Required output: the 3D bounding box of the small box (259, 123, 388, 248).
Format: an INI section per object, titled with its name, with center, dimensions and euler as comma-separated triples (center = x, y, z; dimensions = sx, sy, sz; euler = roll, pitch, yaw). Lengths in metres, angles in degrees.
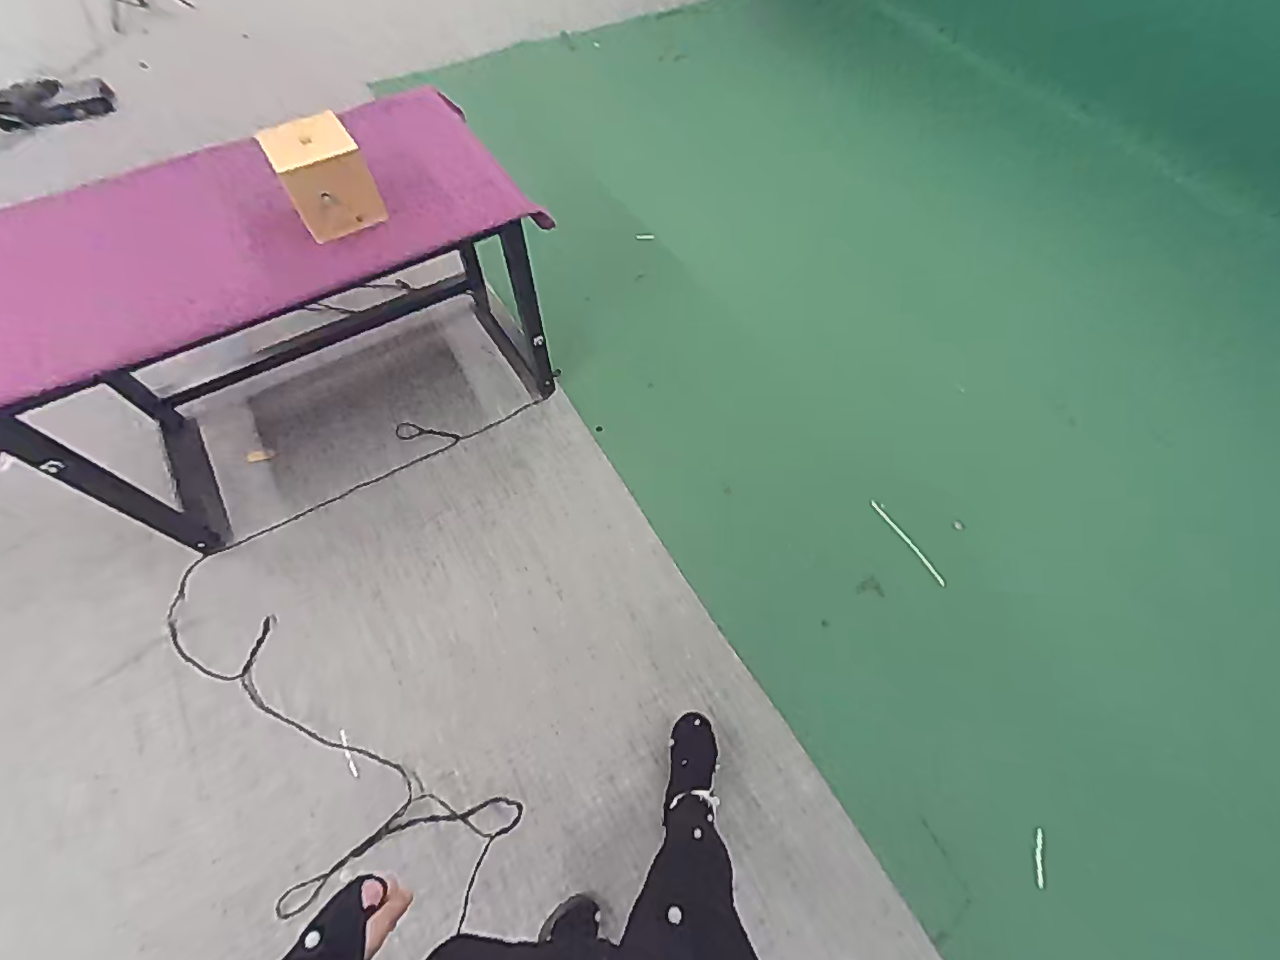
[small box]
center = -0.691, -0.643, 1.198
dimensions = 0.168, 0.176, 0.179
euler = -30, 64, -16
